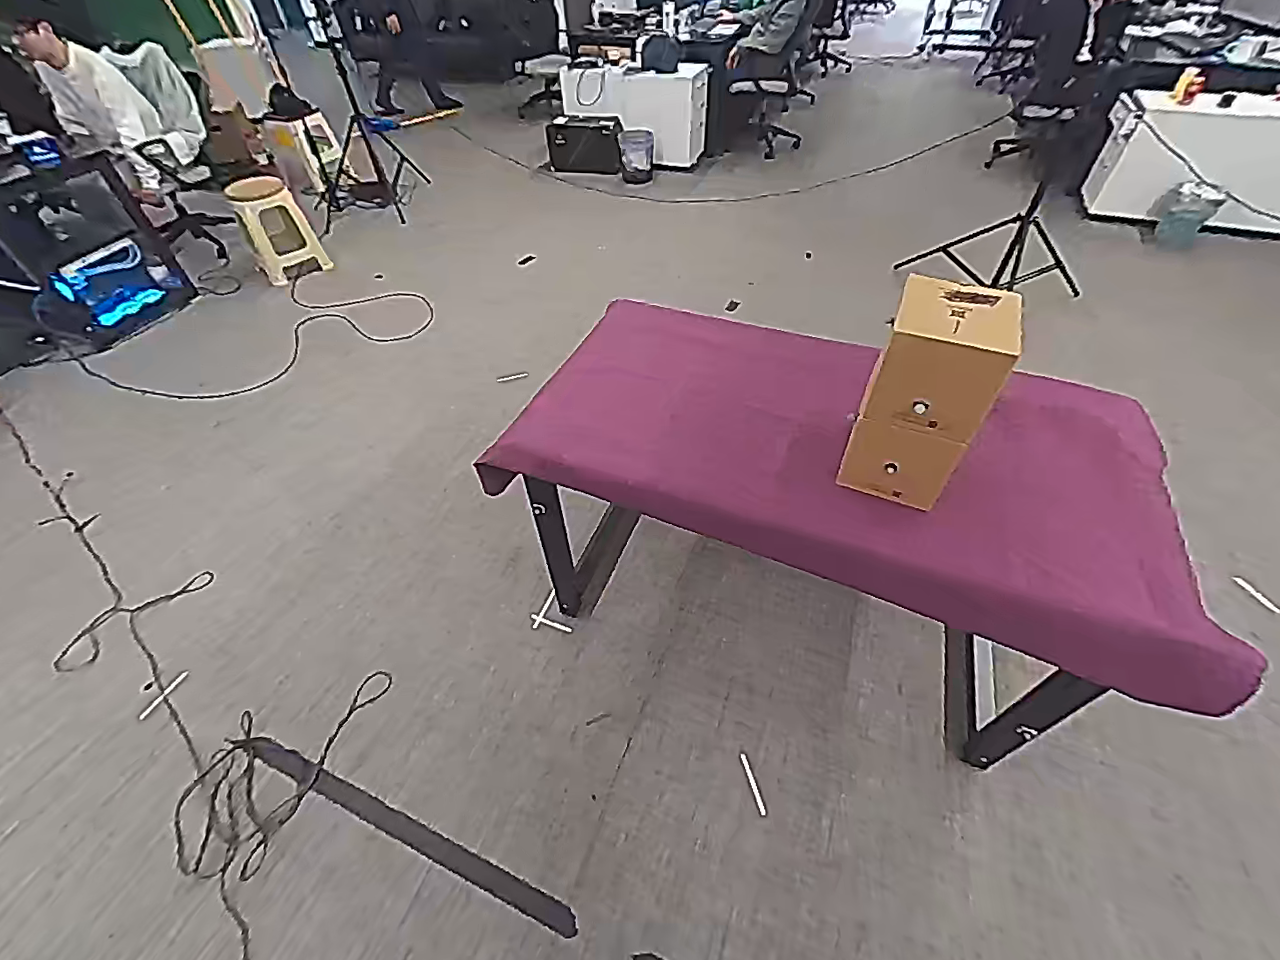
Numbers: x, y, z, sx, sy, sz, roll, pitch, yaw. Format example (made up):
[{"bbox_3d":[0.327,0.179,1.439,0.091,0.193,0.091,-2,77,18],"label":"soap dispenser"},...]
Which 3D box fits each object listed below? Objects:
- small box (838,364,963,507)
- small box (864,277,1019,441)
[{"bbox_3d":[0.473,-0.080,0.981,0.168,0.176,0.179,19,51,17],"label":"small box"},{"bbox_3d":[0.473,-0.192,0.861,0.168,0.176,0.179,18,51,18],"label":"small box"}]
